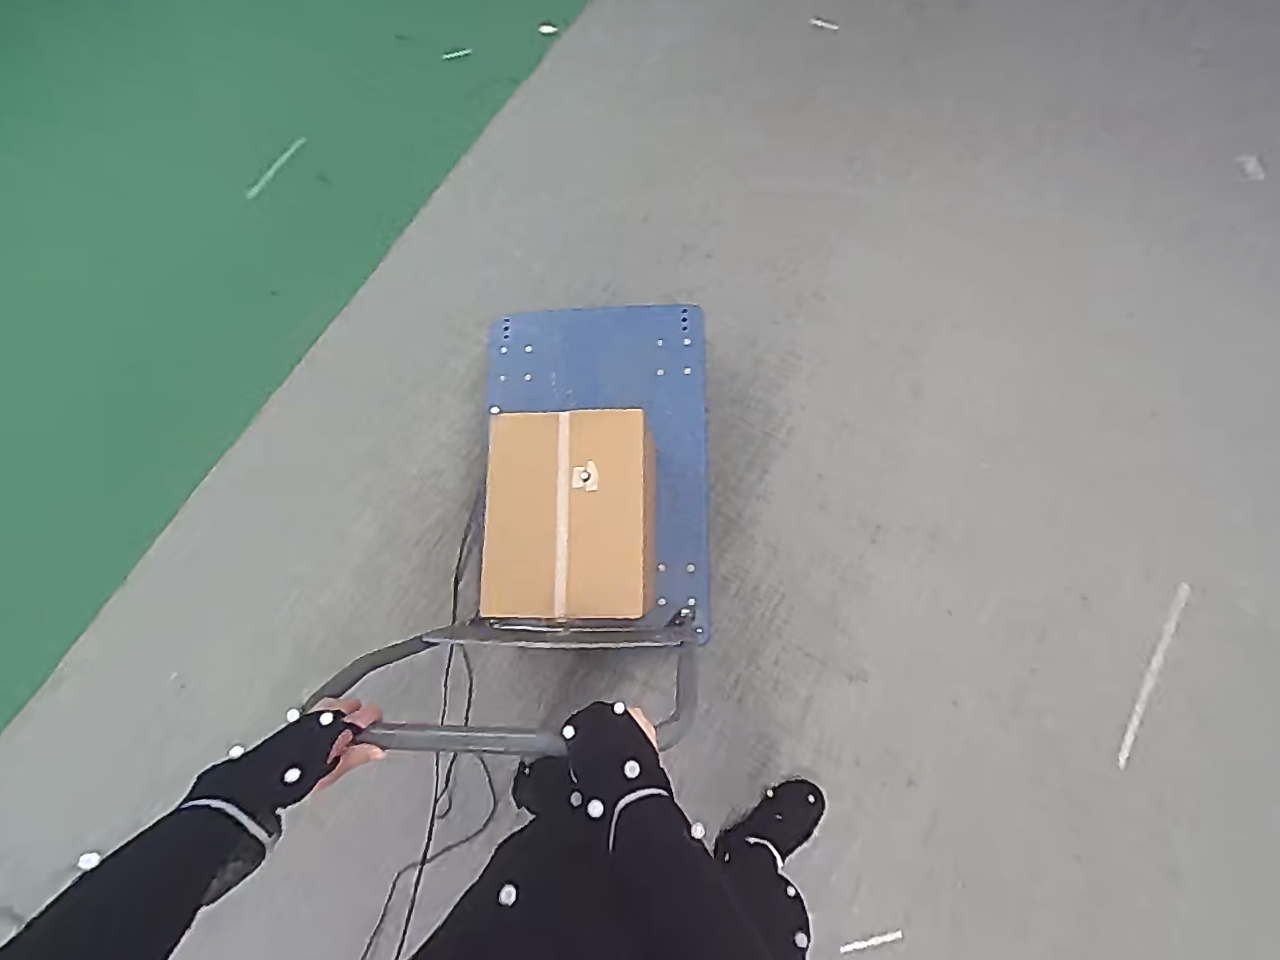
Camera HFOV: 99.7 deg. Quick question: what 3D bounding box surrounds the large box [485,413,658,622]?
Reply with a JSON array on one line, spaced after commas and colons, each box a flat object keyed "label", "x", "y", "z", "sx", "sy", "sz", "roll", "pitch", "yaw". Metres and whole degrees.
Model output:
[{"label": "large box", "x": -0.131, "y": 0.096, "z": 1.192, "sx": 0.320, "sy": 0.320, "sz": 0.408, "roll": -2, "pitch": 79, "yaw": 5}]
